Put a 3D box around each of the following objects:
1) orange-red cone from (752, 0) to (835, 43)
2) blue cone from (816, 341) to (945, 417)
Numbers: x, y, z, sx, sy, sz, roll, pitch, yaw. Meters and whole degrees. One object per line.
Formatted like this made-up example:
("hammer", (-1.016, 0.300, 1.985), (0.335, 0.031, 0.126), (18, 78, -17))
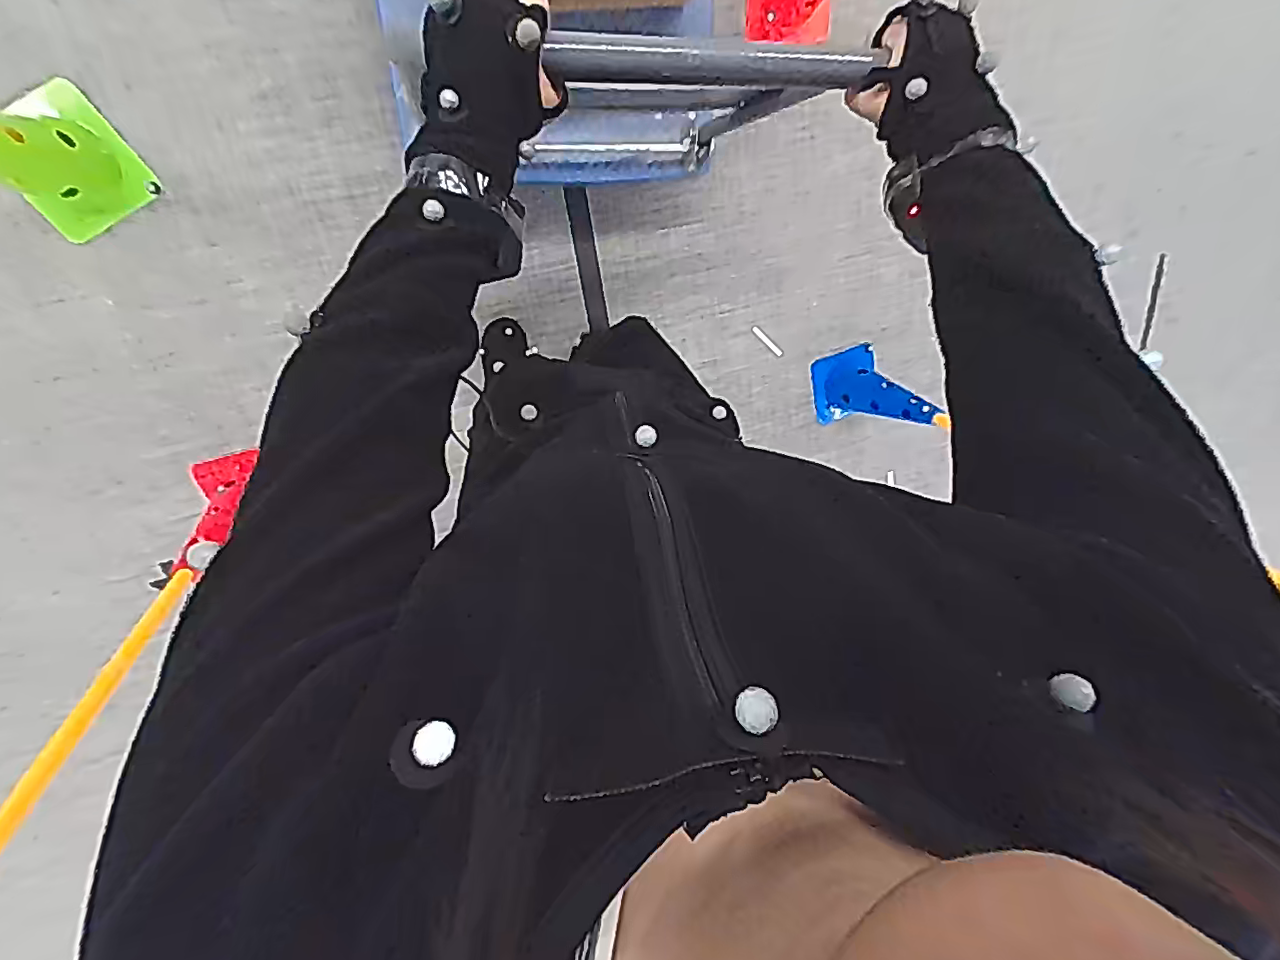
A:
("orange-red cone", (0.381, -0.989, 1.000), (0.199, 0.360, 0.198), (-10, 116, -14))
("blue cone", (0.649, -0.229, 1.426), (0.193, 0.380, 0.192), (-19, 116, -9))
